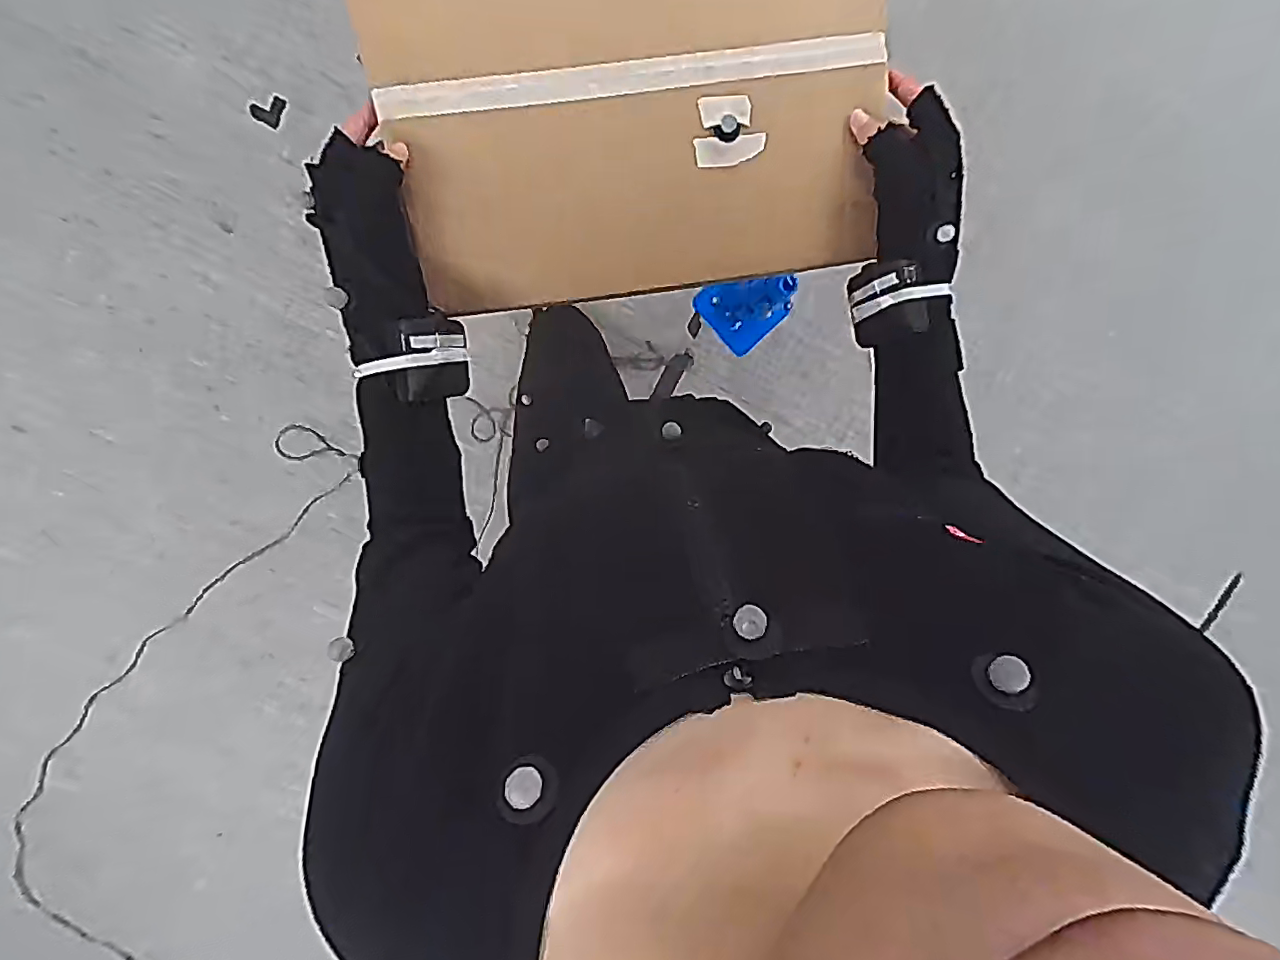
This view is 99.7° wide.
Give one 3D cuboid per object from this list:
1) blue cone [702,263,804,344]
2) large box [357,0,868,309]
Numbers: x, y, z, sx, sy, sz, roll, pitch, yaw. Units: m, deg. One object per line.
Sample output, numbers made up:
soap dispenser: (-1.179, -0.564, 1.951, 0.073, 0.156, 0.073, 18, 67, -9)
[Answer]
blue cone: (0.288, -0.441, 1.252, 0.192, 0.380, 0.193, -41, 101, 4)
large box: (-0.026, -0.373, 0.578, 0.408, 0.320, 0.320, -9, 108, -4)
